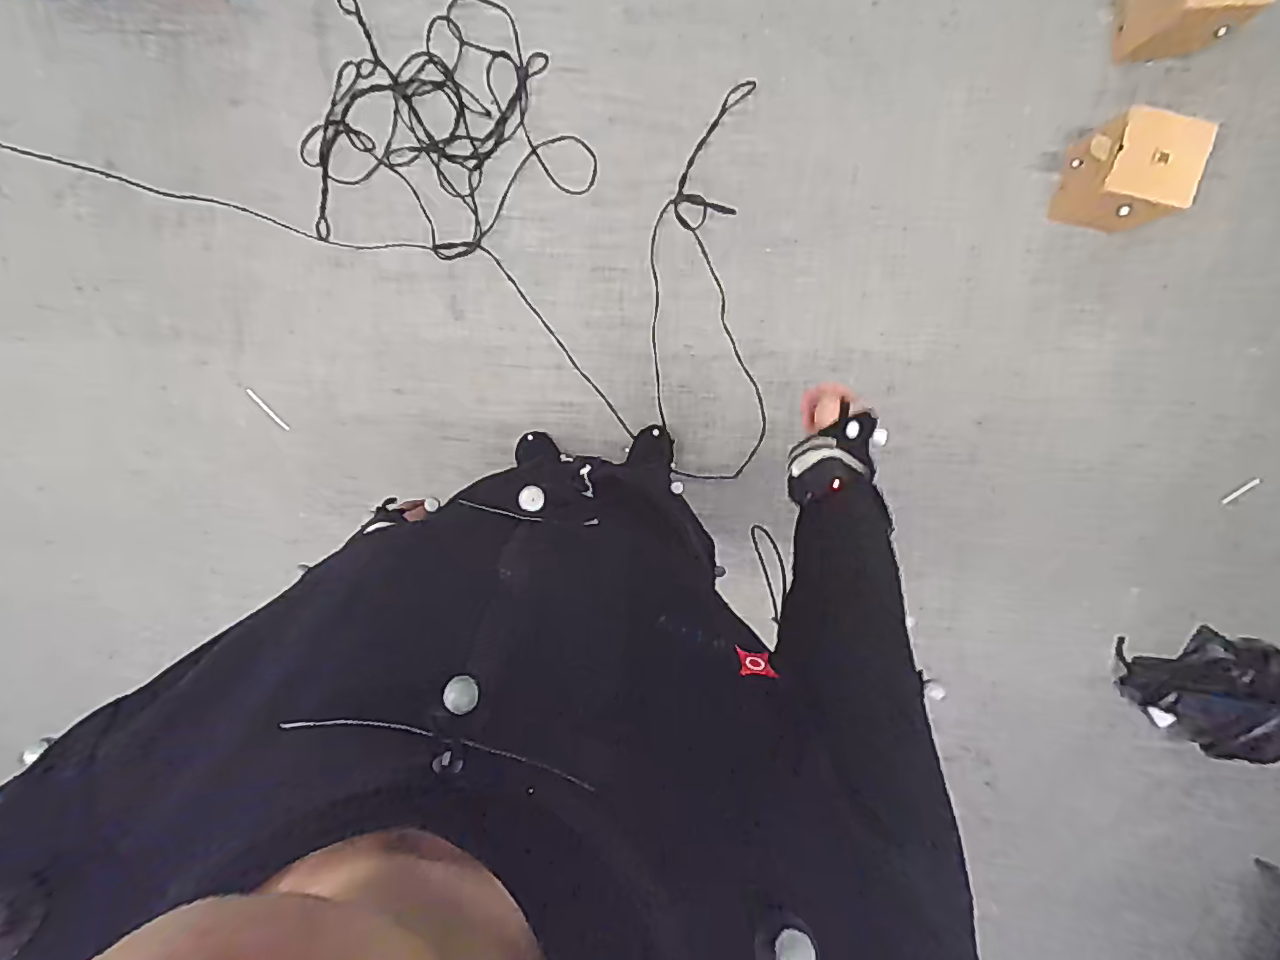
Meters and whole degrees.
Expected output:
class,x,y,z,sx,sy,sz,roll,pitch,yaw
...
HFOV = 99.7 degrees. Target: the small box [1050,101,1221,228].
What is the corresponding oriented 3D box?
class,x,y,z,sx,sy,sz,roll,pitch,yaw
small box,1.033,-0.654,1.144,0.179,0.176,0.168,14,98,1
